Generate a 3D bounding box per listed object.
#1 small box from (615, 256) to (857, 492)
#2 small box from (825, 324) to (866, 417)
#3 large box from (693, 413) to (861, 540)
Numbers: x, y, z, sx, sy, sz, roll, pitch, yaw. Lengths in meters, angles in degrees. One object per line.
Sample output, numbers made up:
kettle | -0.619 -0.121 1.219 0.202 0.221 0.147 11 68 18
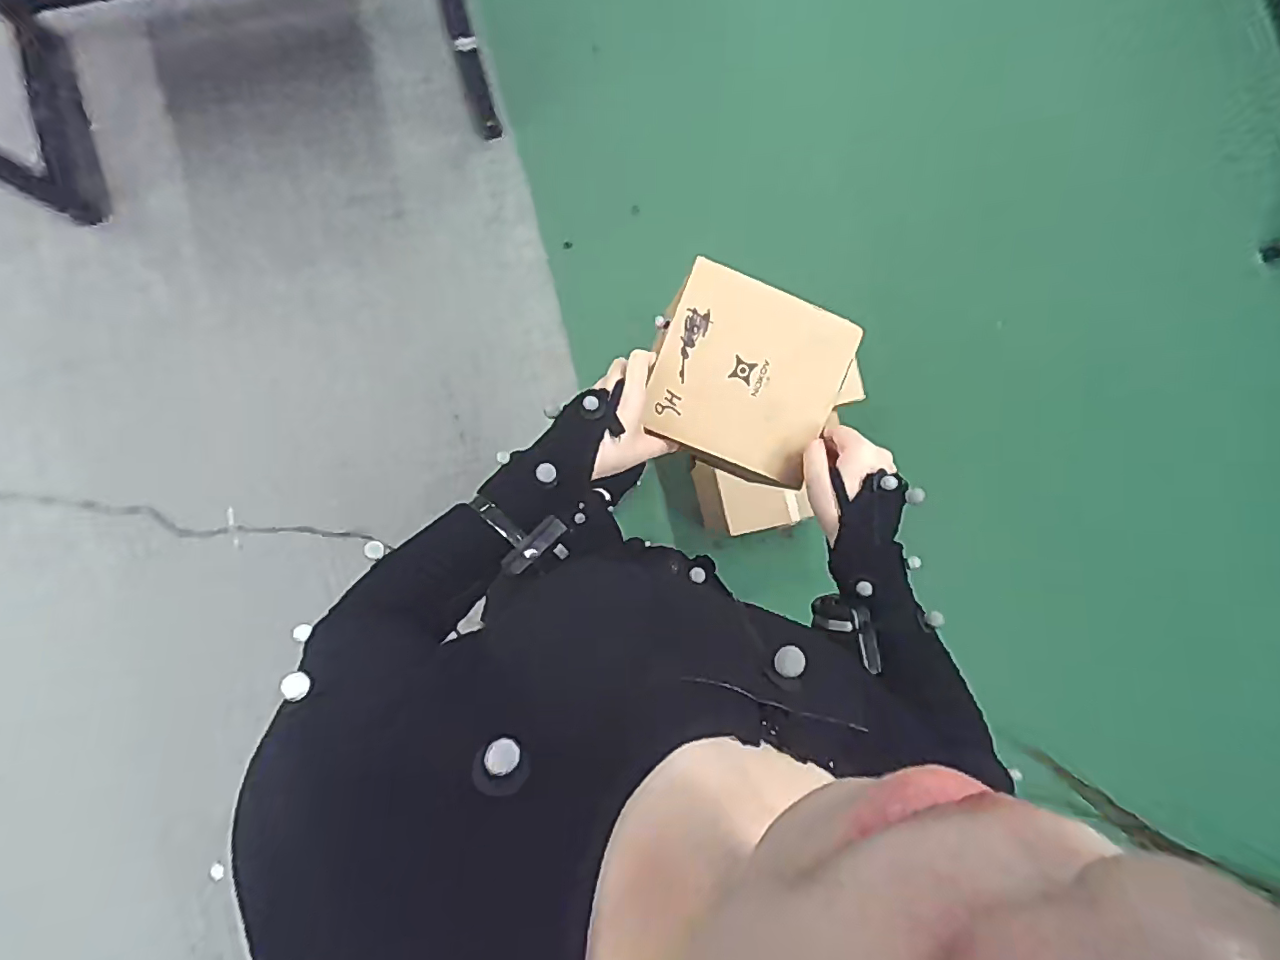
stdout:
small box | 0.084 -0.098 0.567 0.179 0.176 0.168 21 89 -7
small box | 0.344 -0.212 1.145 0.179 0.176 0.168 -12 88 -4
large box | 0.304 -0.083 1.379 0.320 0.320 0.408 -12 88 -3
